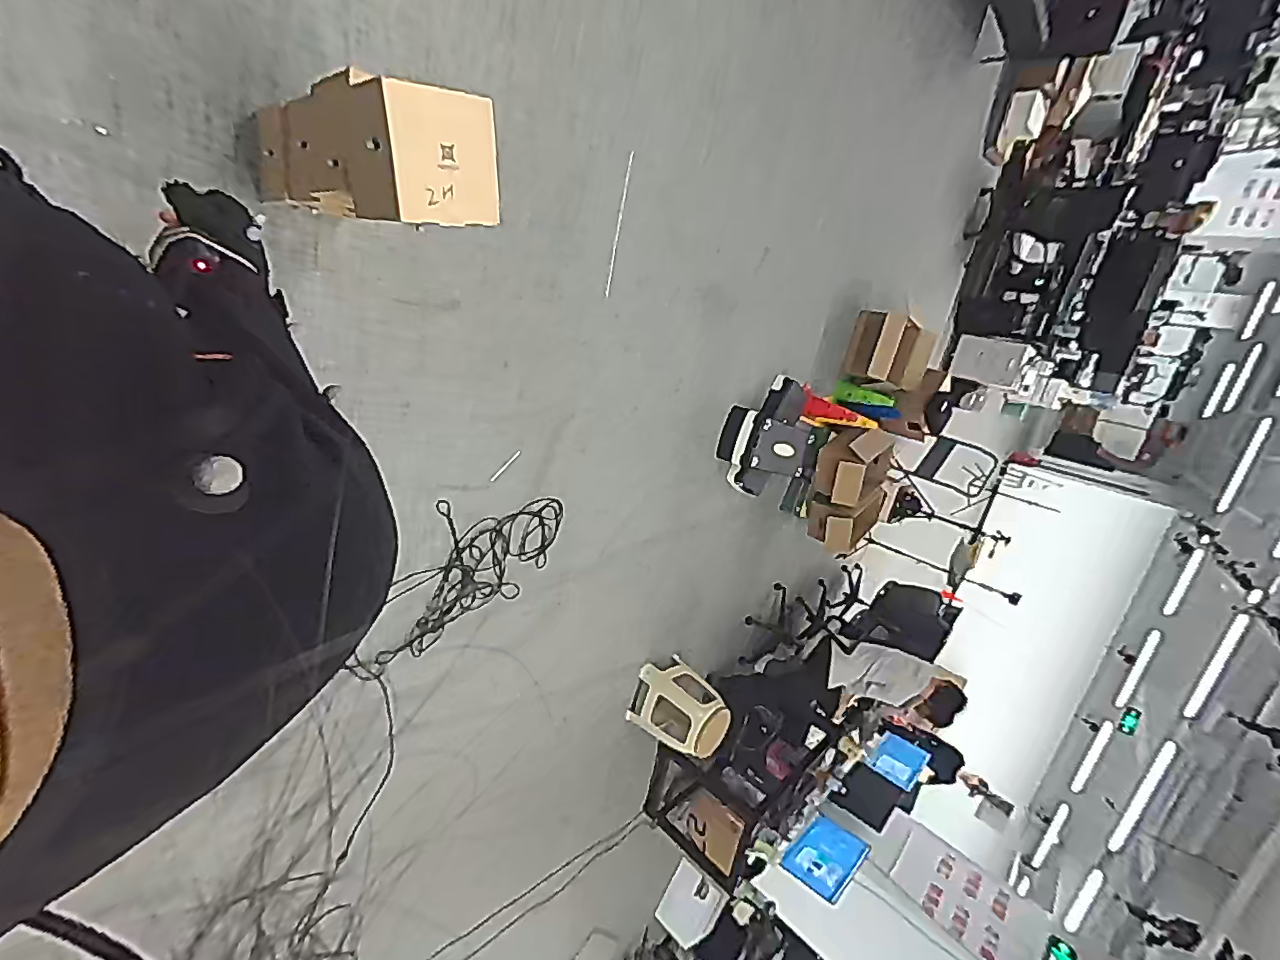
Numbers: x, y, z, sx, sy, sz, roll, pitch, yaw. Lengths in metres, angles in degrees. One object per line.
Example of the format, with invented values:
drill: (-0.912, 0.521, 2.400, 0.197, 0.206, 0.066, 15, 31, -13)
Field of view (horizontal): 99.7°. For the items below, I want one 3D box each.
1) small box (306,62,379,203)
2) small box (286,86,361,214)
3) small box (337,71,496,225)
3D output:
small box: (-0.454, -0.568, 0.927, 0.168, 0.176, 0.179, -5, 113, -47)
small box: (-0.562, -0.617, 1.039, 0.168, 0.176, 0.179, -9, 115, -47)
small box: (-0.341, -0.495, 0.831, 0.168, 0.176, 0.179, -21, 125, -41)
